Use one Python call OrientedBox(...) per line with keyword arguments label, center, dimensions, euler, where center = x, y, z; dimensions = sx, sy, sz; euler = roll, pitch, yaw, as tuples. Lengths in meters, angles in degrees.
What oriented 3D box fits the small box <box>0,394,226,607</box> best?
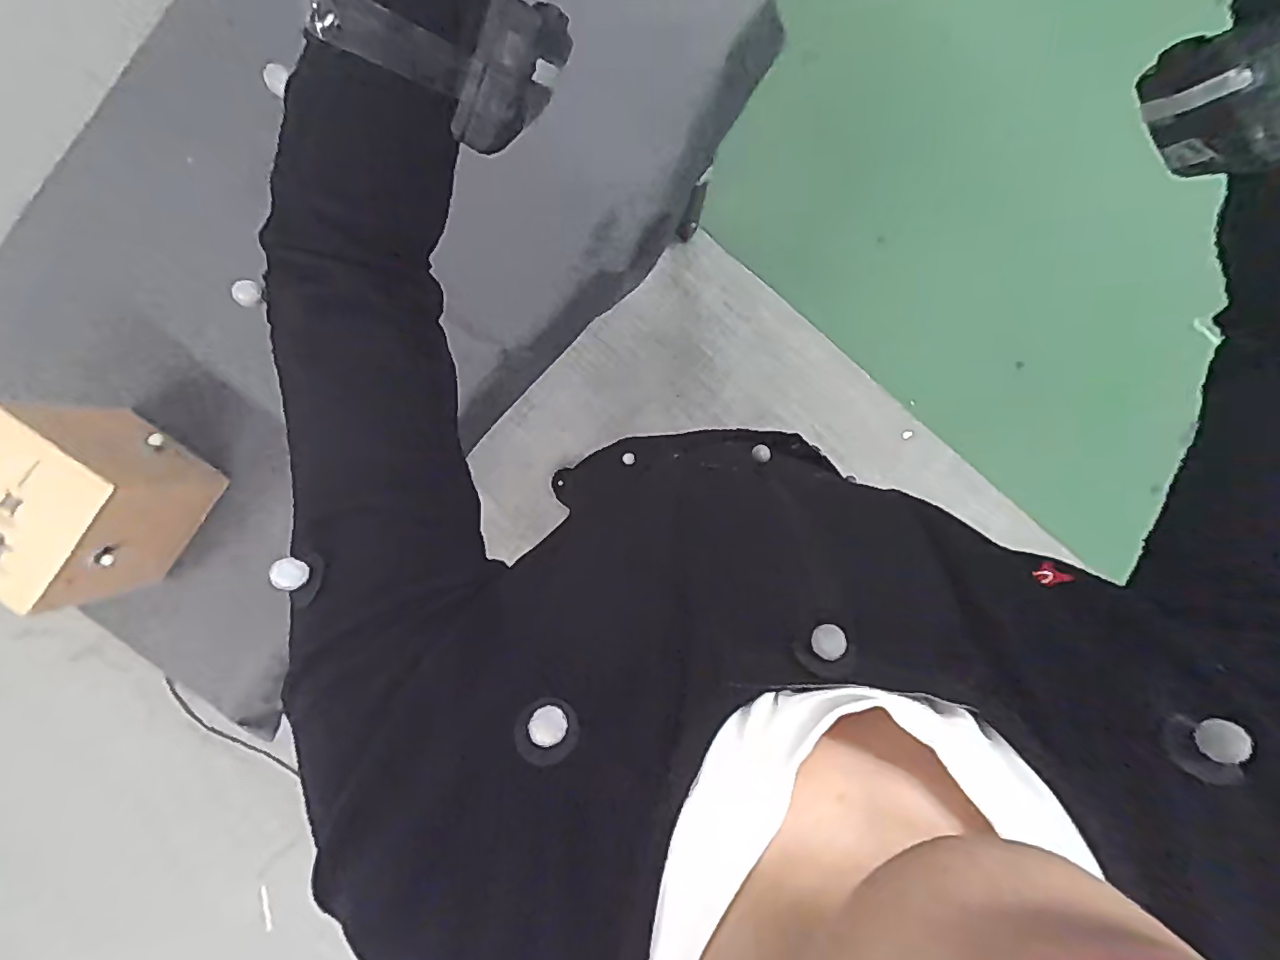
OrientedBox(label="small box", center=(-0.666, 0.020, 0.659), dimensions=(0.168, 0.176, 0.179), euler=(36, 92, -2))
